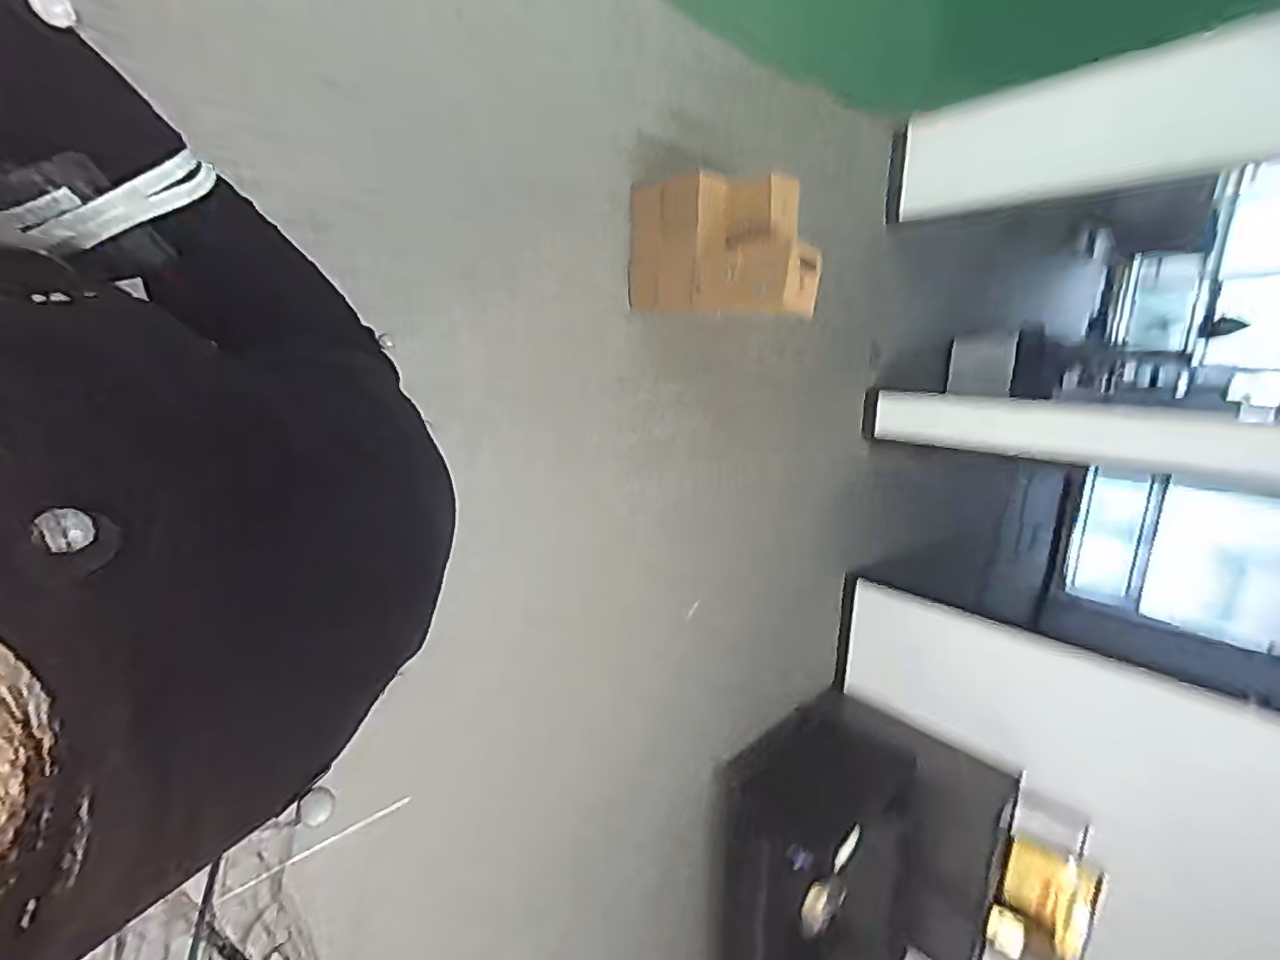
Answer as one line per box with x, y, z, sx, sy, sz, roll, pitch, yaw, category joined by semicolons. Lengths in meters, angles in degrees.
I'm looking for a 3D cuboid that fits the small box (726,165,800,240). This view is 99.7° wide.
0.387;-0.872;1.718;0.168;0.176;0.179;-15;110;-43;small box
